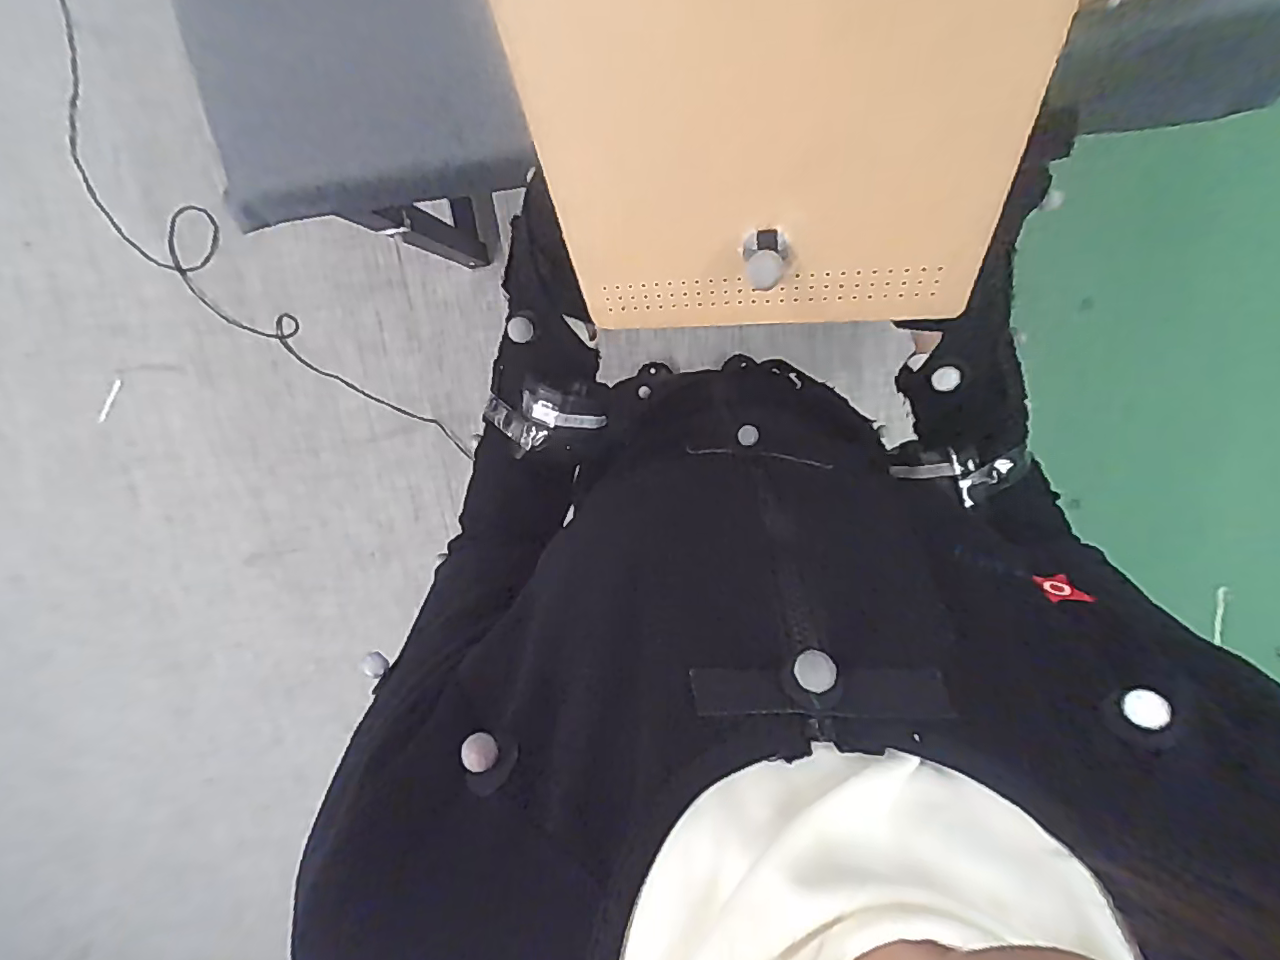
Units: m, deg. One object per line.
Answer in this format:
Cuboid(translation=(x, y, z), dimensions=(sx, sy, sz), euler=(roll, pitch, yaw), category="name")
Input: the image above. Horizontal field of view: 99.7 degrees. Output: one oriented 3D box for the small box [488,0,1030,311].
Cuboid(translation=(0.053, -0.196, 0.246), dimensions=(0.179, 0.168, 0.176), euler=(2, 147, 13), category="small box")
